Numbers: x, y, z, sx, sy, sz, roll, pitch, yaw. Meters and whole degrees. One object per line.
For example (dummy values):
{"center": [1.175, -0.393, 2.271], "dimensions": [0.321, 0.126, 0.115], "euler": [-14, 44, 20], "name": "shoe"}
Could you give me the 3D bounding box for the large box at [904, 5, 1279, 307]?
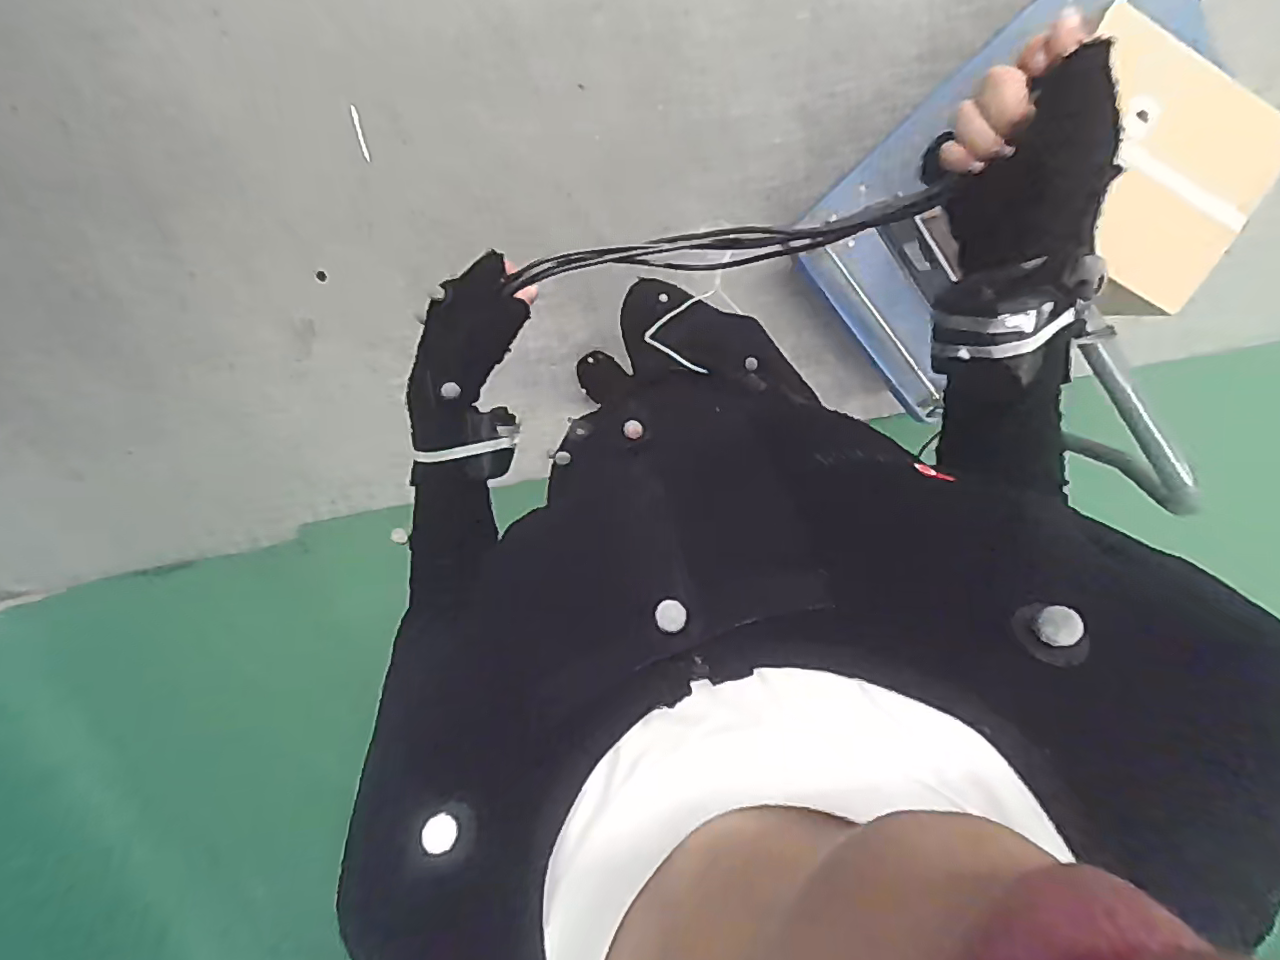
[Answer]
{"center": [0.812, -0.553, 1.020], "dimensions": [0.408, 0.320, 0.320], "euler": [24, 105, -8], "name": "large box"}
